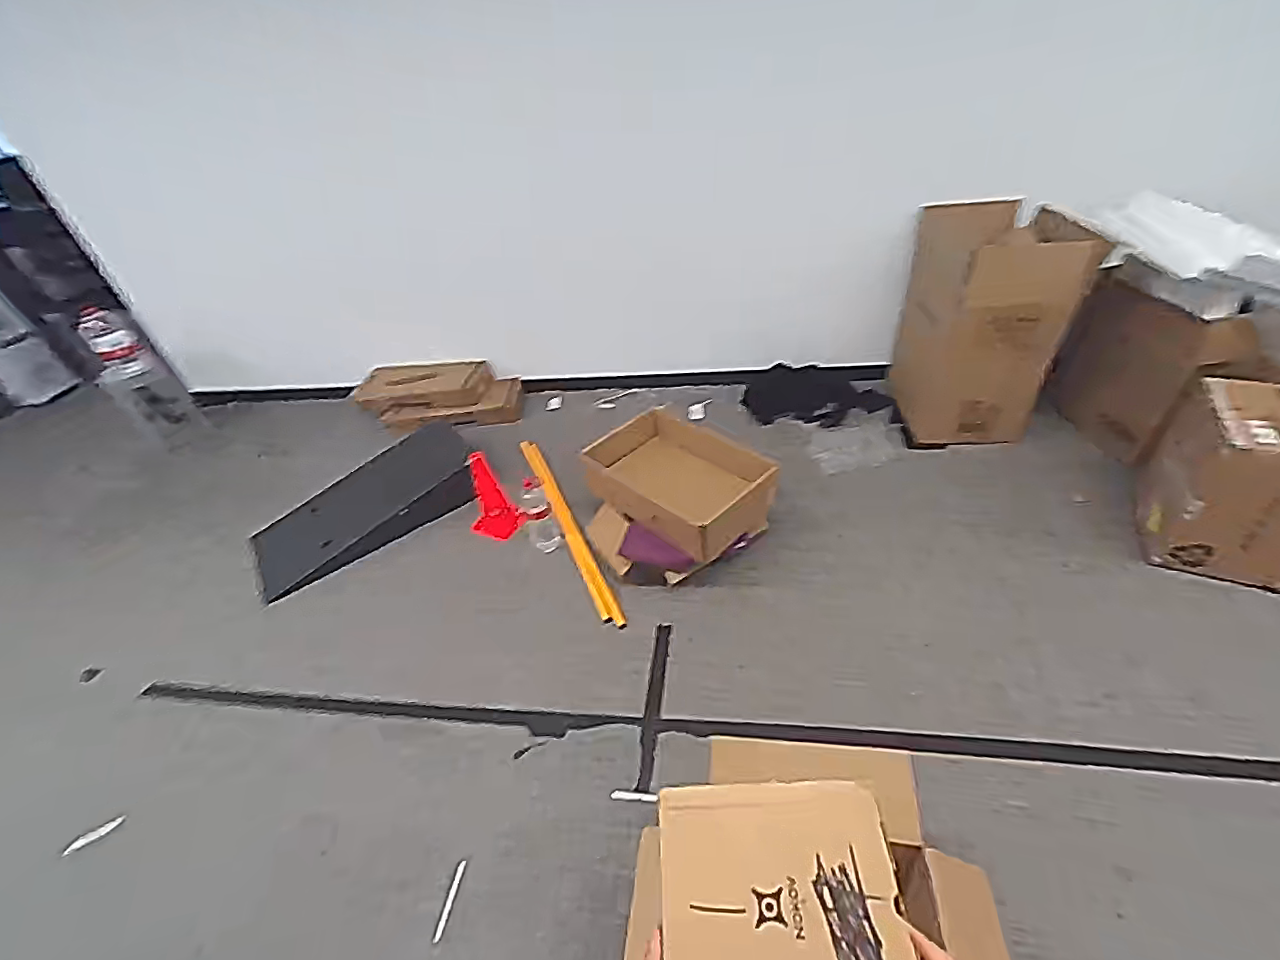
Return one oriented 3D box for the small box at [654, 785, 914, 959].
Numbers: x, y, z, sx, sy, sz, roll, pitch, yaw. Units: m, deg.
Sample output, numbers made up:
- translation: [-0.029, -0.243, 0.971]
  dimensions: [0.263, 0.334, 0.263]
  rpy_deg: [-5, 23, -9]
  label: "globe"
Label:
- translation: [0.107, 0.366, 0.446]
  dimensions: [0.179, 0.176, 0.168]
  rpy_deg: [-6, 46, 5]
  label: "small box"
